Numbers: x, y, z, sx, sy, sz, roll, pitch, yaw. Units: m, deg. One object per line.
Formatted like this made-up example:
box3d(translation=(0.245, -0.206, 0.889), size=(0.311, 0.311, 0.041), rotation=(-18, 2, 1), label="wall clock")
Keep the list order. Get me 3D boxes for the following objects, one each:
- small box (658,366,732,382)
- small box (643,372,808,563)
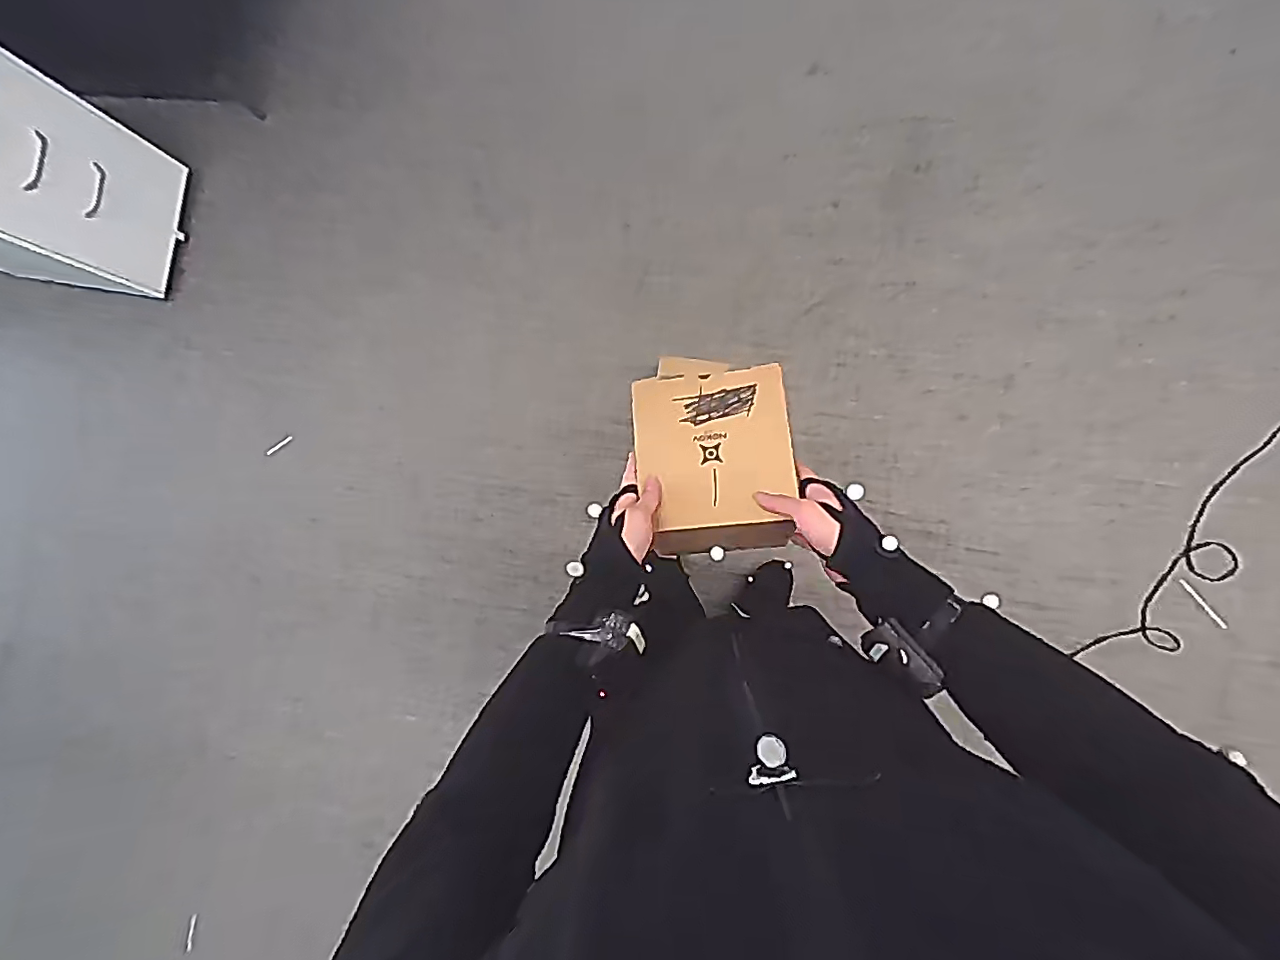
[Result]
box3d(translation=(0.132, -0.182, 1.364), size=(0.179, 0.176, 0.168), rotation=(7, 89, 7), label="small box")
box3d(translation=(0.097, -0.005, 0.637), size=(0.168, 0.176, 0.179), rotation=(-3, 71, 10), label="small box")
